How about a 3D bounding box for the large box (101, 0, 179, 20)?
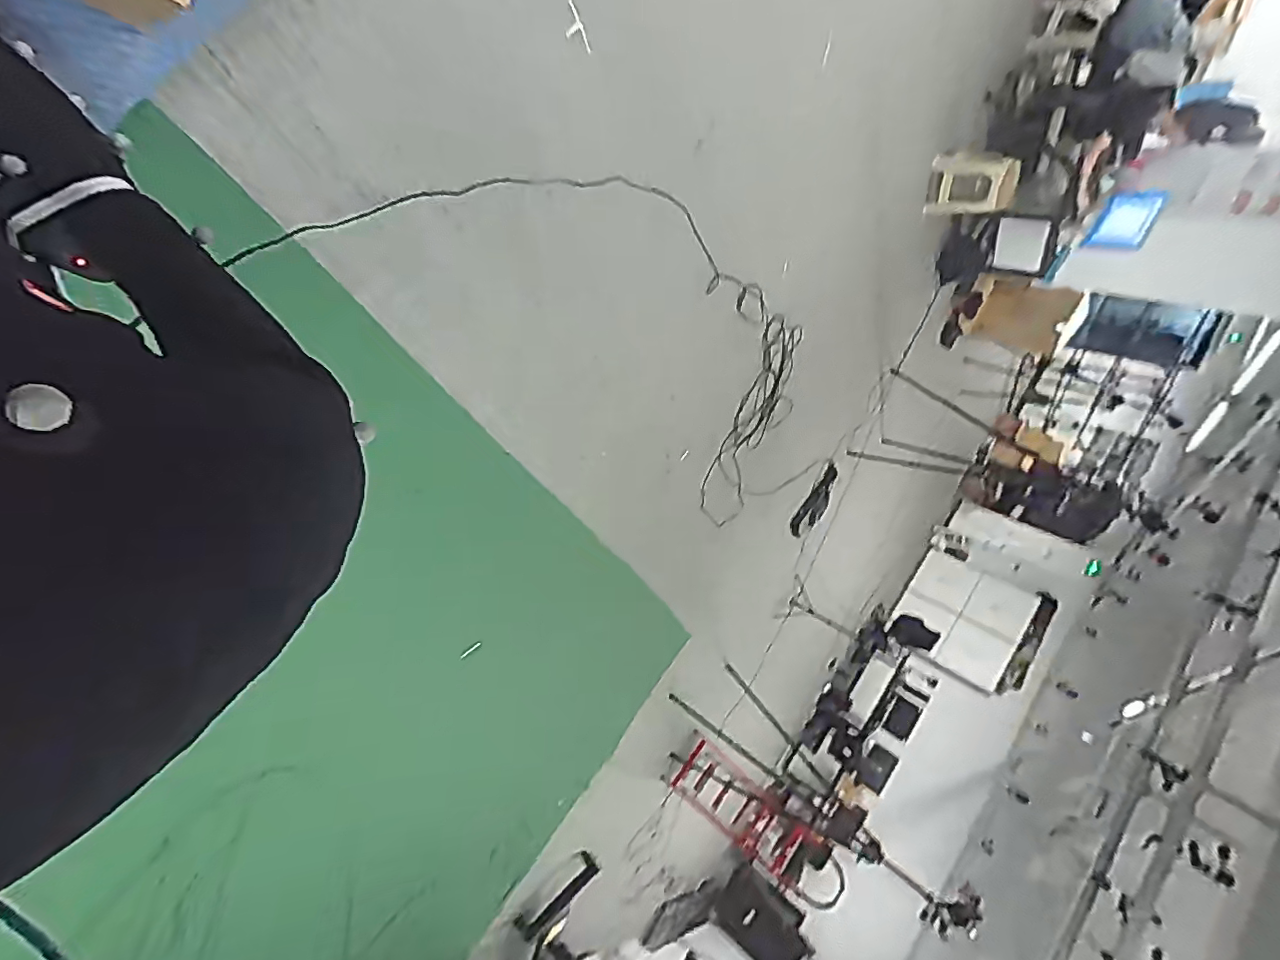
[{"bbox_3d":[-0.731,-0.803,0.569,0.408,0.320,0.320,10,104,-52],"label":"large box"}]
